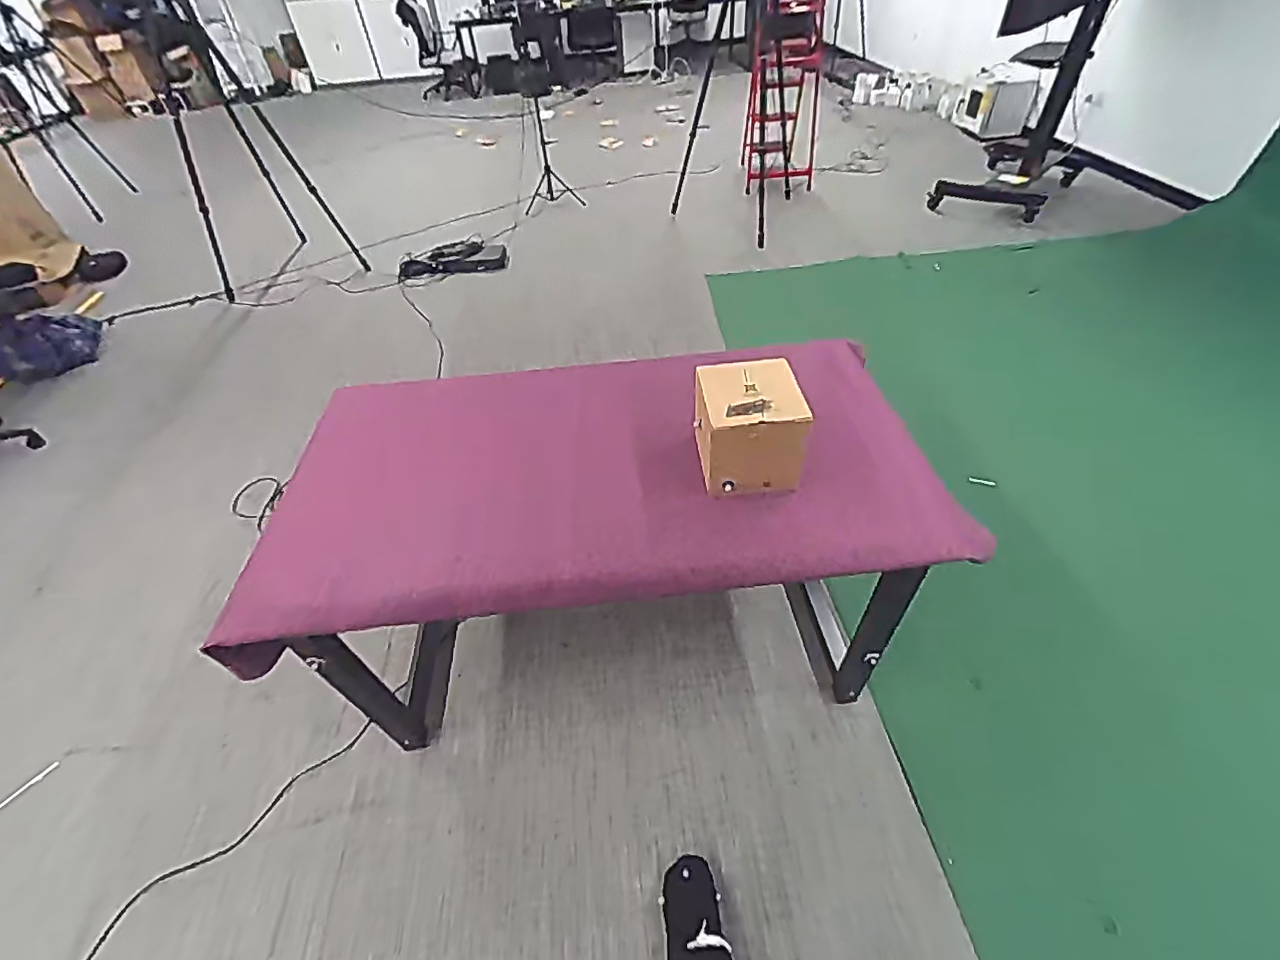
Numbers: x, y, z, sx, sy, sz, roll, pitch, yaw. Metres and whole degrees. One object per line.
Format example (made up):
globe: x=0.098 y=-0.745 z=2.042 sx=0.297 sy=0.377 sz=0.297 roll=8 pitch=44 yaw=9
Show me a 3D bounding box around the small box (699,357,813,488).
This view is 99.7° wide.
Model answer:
small box: x=0.197 y=-0.097 z=0.968 sx=0.168 sy=0.176 sz=0.179 roll=-2 pitch=47 yaw=1
